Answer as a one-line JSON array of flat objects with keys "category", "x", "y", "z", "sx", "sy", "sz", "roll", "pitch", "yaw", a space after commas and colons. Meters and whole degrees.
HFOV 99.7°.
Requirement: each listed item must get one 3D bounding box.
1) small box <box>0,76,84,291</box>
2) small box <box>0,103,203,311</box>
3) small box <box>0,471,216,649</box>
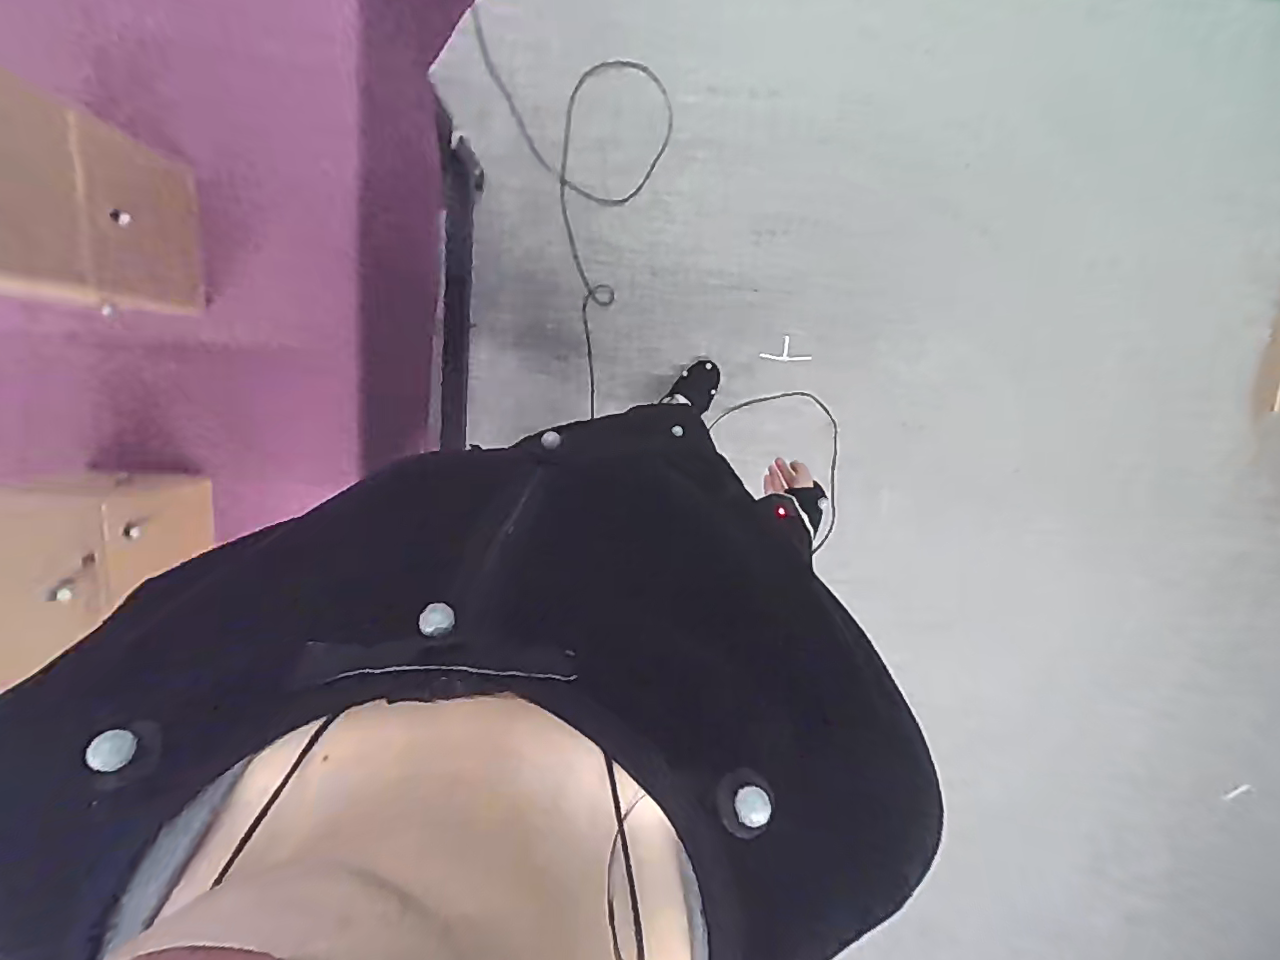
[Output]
[{"category": "small box", "x": -0.629, "y": -0.267, "z": 0.448, "sx": 0.168, "sy": 0.176, "sz": 0.179, "roll": 3, "pitch": 100, "yaw": -4}, {"category": "small box", "x": -0.637, "y": -0.295, "z": 0.610, "sx": 0.168, "sy": 0.176, "sz": 0.179, "roll": 4, "pitch": 99, "yaw": -5}, {"category": "small box", "x": -0.672, "y": 0.090, "z": 0.674, "sx": 0.168, "sy": 0.176, "sz": 0.179, "roll": 2, "pitch": 98, "yaw": -3}]
